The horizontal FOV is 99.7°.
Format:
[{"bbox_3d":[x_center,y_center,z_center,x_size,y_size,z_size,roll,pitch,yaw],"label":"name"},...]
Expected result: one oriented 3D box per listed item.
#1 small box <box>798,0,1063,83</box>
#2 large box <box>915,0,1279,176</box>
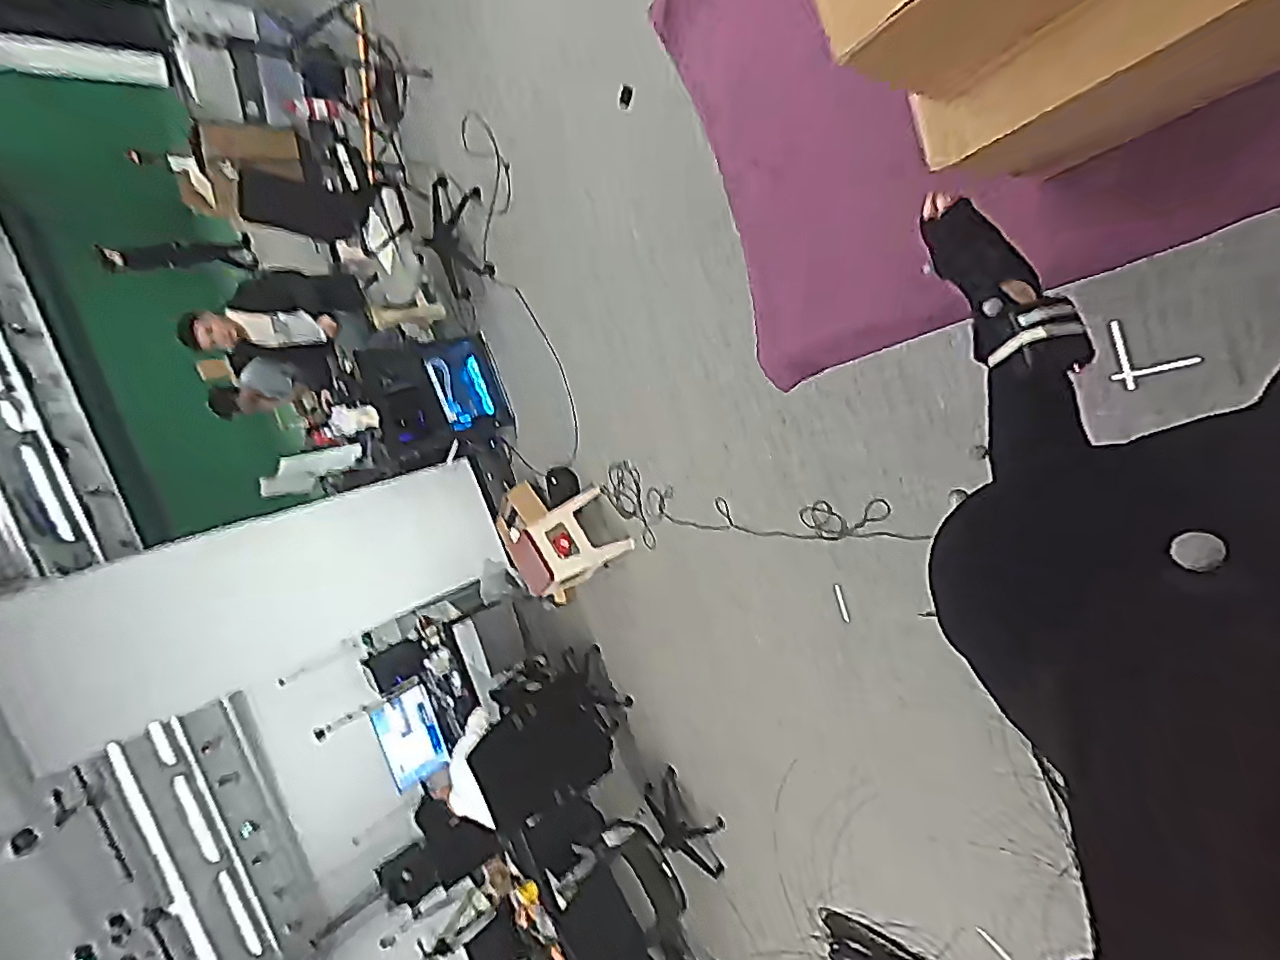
[{"bbox_3d":[0.179,-0.348,0.282,0.168,0.176,0.179,-16,95,51],"label":"small box"},{"bbox_3d":[0.407,-0.463,0.348,0.408,0.320,0.320,-14,98,52],"label":"large box"}]
